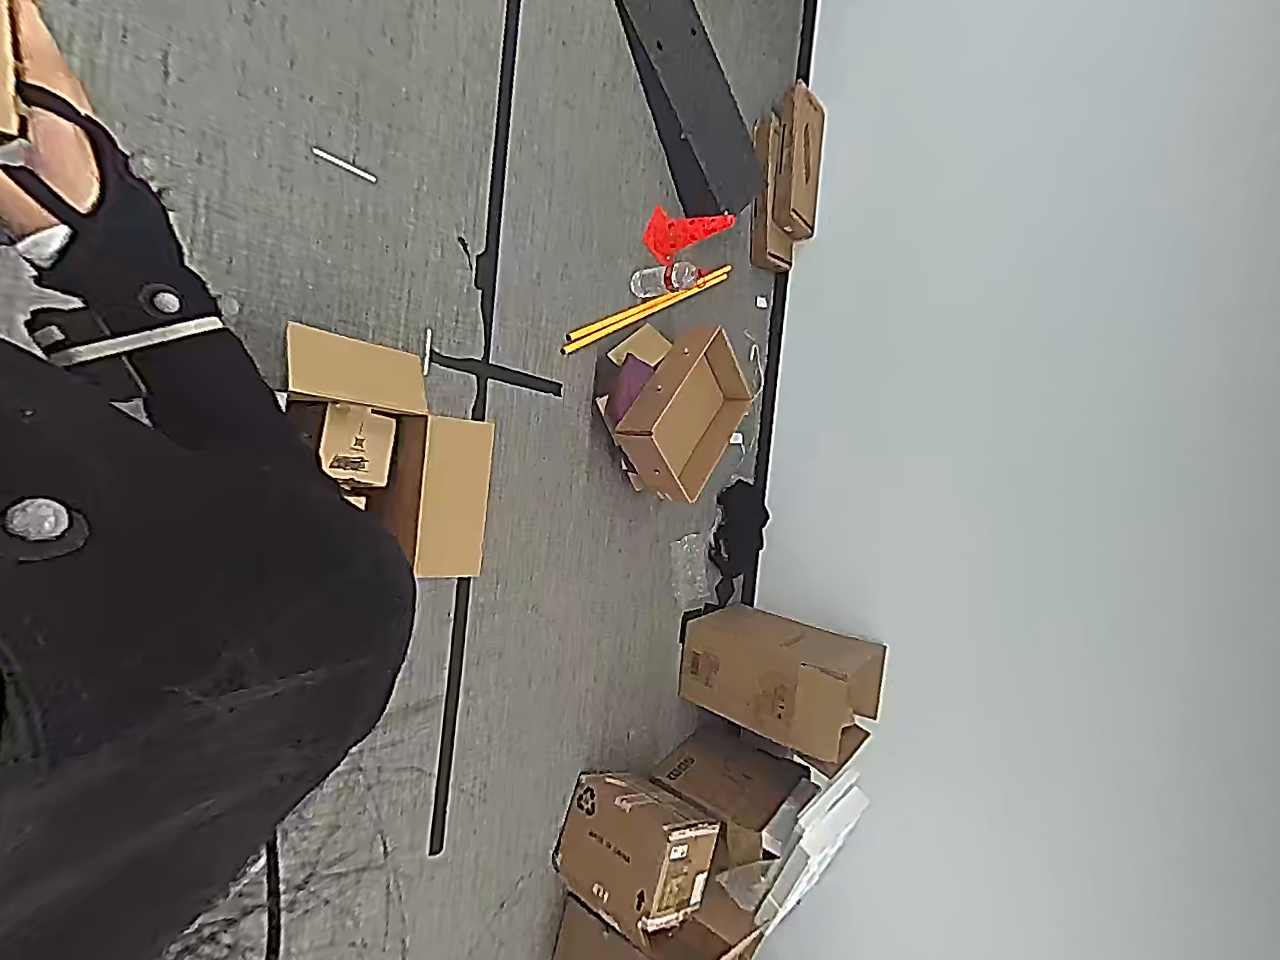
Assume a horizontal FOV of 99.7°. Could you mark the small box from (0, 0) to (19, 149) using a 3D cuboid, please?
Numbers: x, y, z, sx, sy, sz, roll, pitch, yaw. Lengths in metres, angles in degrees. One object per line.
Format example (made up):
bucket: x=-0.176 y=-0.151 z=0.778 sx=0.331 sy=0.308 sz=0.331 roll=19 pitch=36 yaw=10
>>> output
small box: x=-0.444 y=-0.275 z=0.252 sx=0.179 sy=0.176 sz=0.168 roll=-10 pitch=113 yaw=-54
